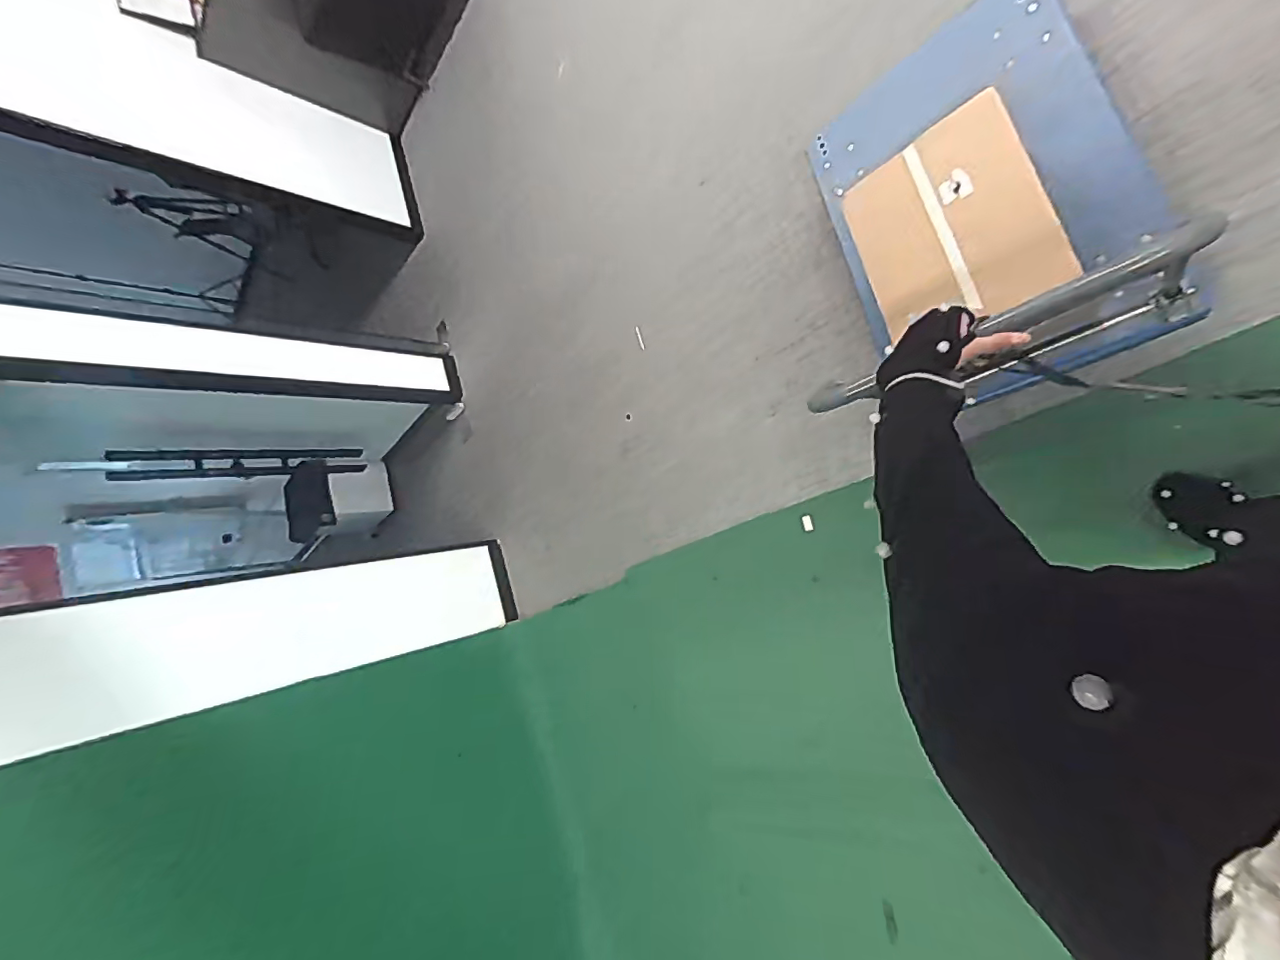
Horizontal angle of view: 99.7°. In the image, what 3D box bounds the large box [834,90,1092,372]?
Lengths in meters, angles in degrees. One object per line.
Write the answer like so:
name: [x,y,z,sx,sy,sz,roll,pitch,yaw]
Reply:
large box: [0.686,-0.490,1.157,0.320,0.320,0.408,-26,75,41]
